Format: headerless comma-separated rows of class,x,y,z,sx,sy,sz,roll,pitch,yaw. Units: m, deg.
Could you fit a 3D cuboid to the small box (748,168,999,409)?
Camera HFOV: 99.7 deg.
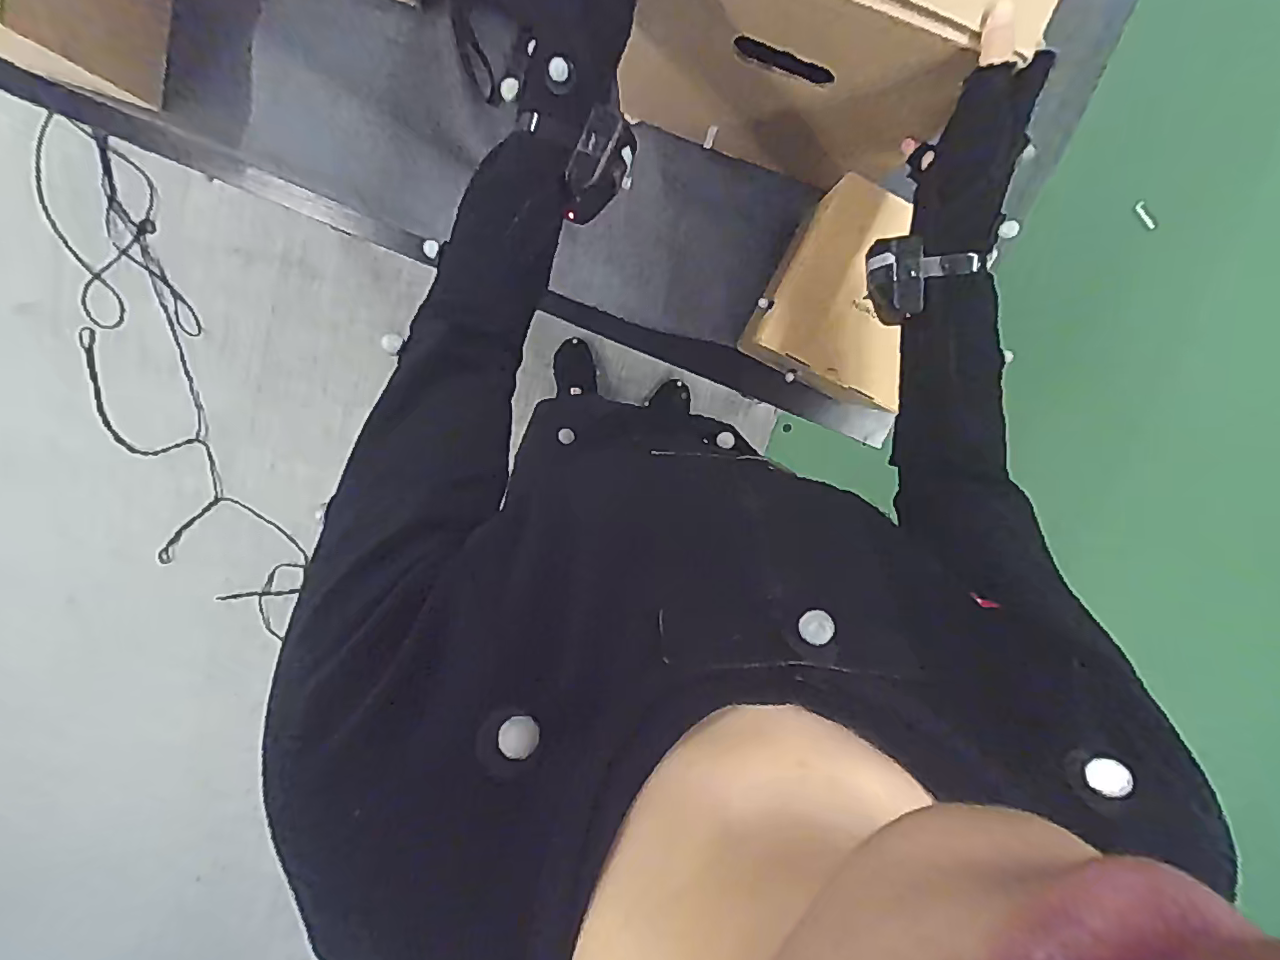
small box,0.236,-0.201,0.605,0.168,0.176,0.179,26,104,-3
